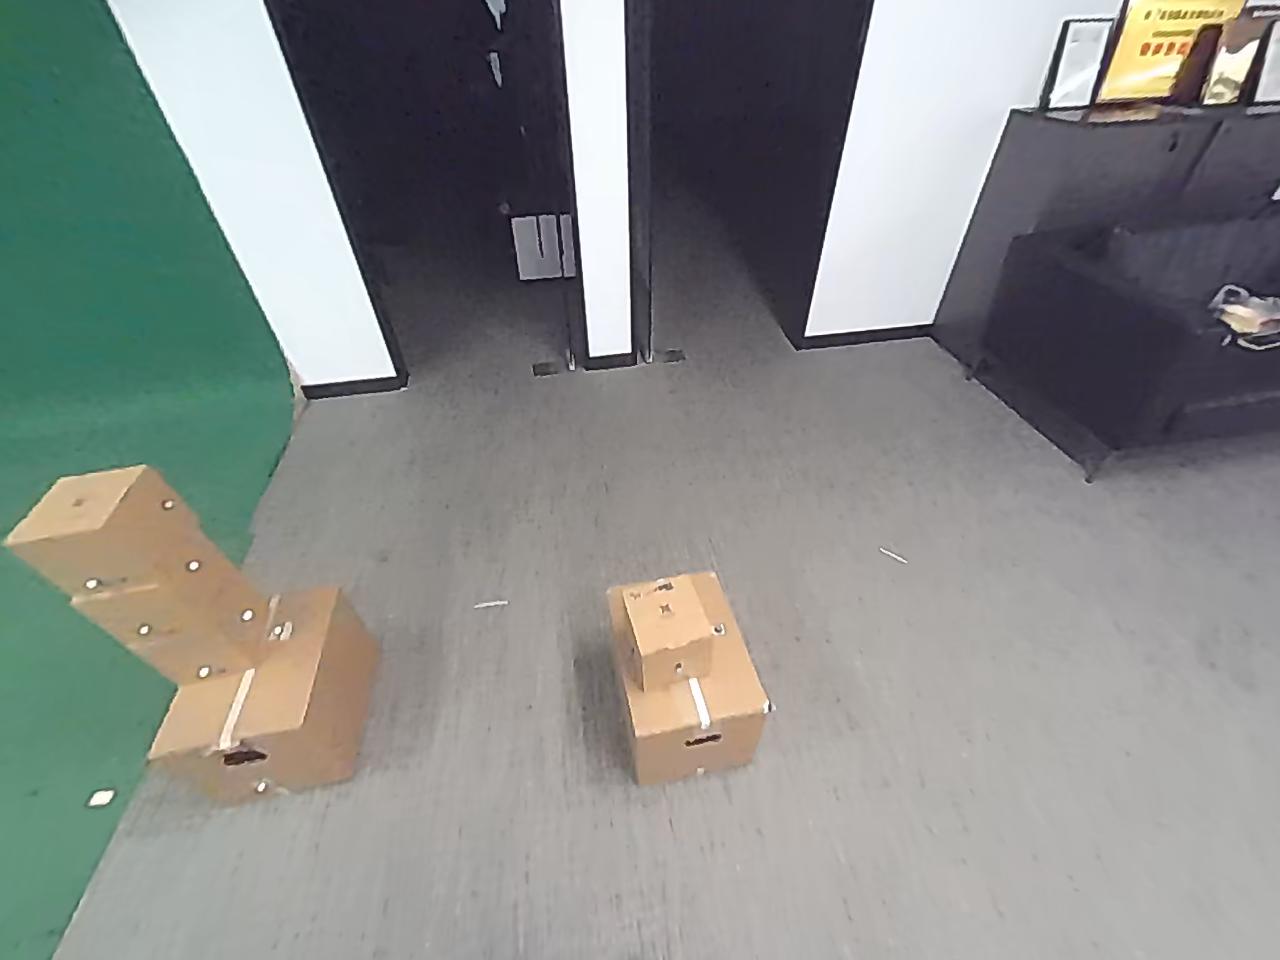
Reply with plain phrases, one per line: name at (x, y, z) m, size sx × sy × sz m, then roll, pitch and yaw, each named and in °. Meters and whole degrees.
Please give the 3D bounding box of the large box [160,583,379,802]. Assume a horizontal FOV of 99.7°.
large box at (-0.921, 0.547, 1.420) m, size 0.320 × 0.320 × 0.408 m, roll -9°, pitch 42°, yaw -8°

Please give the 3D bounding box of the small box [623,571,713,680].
small box at (0.064, 0.345, 1.260) m, size 0.168 × 0.176 × 0.179 m, roll -12°, pitch 44°, yaw -9°

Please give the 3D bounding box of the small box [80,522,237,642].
small box at (-1.026, 0.222, 1.176) m, size 0.168 × 0.176 × 0.179 m, roll -11°, pitch 44°, yaw -6°

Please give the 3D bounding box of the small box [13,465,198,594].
small box at (-1.033, 0.098, 1.070) m, size 0.168 × 0.176 × 0.179 m, roll -10°, pitch 44°, yaw -4°
